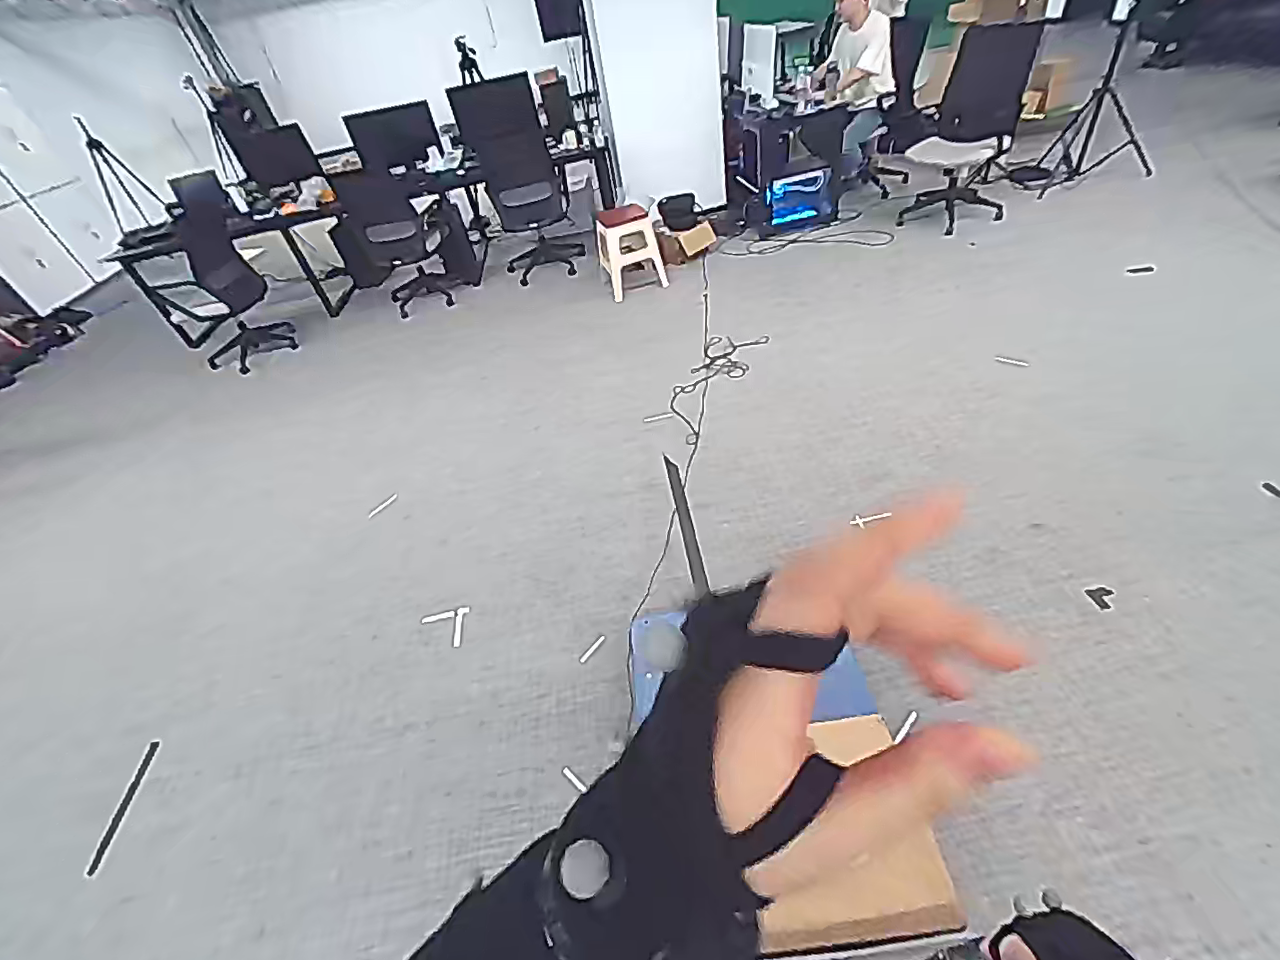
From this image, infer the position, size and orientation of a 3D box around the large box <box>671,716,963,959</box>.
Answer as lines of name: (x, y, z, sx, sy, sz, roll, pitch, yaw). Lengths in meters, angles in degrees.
large box: (0.288, 0.687, 1.001, 0.408, 0.320, 0.320, -10, 42, 3)
